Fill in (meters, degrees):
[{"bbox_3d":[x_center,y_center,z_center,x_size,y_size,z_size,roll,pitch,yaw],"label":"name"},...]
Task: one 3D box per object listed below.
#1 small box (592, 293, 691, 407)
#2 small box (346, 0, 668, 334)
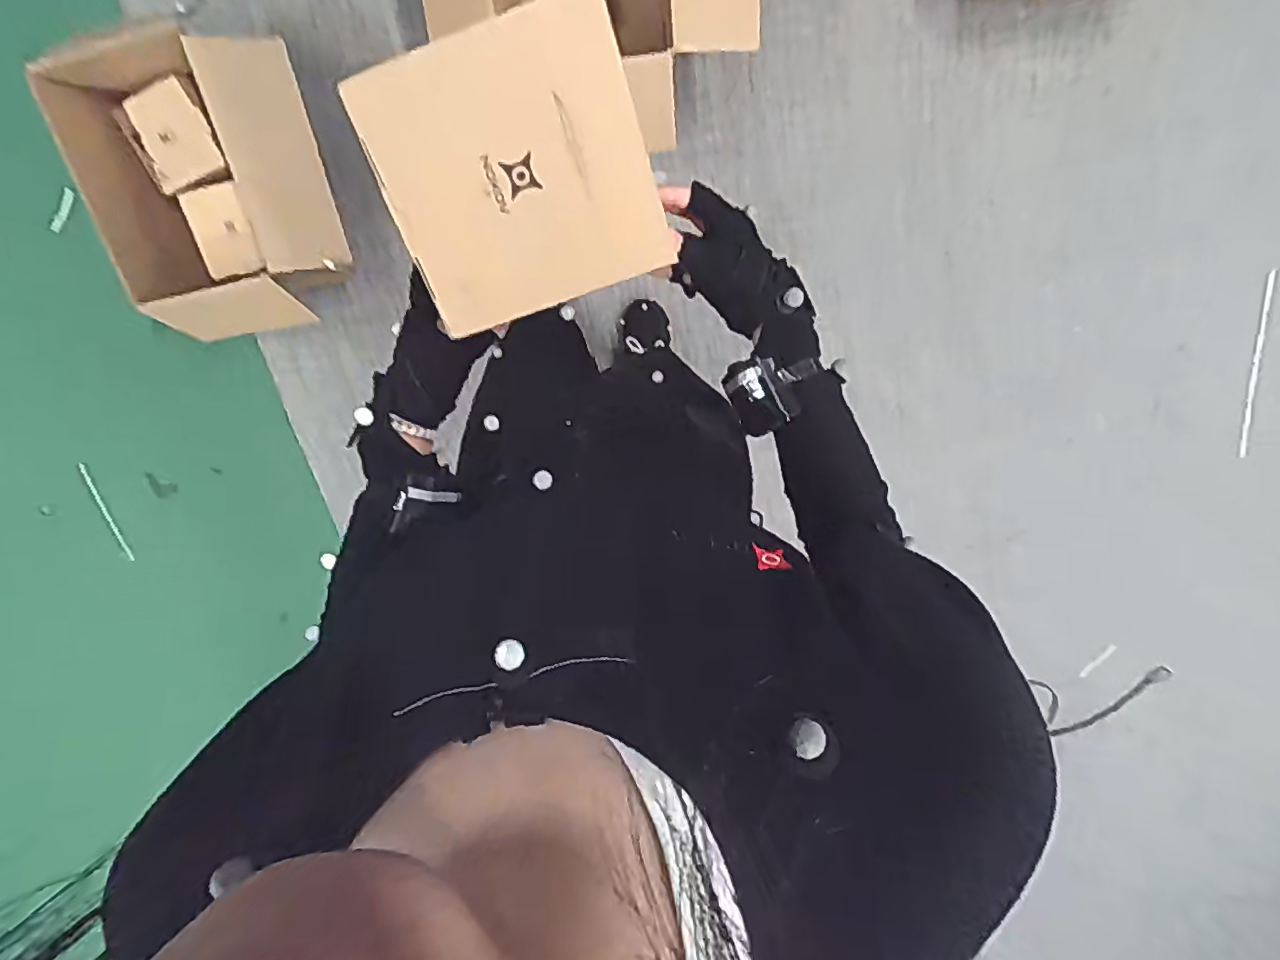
[{"bbox_3d":[0.006,-0.313,1.332,0.179,0.176,0.168,-44,77,-8],"label":"small box"},{"bbox_3d":[-0.082,-0.231,0.435,0.179,0.176,0.168,-16,112,7],"label":"small box"}]
